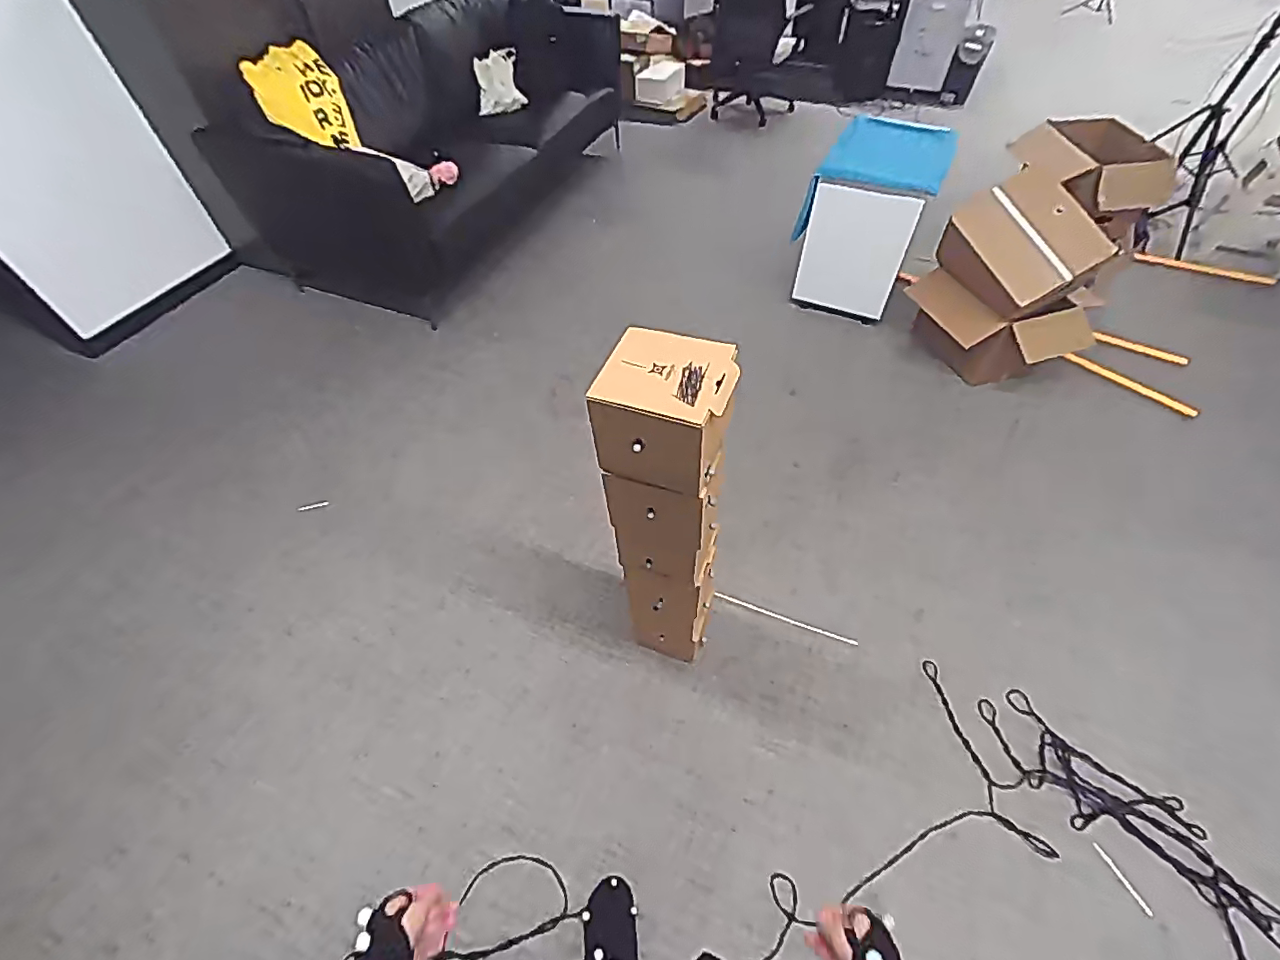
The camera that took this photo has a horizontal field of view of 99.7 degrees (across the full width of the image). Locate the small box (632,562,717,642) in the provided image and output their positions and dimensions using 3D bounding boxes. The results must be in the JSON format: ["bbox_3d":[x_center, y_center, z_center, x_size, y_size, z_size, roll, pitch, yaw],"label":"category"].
[{"bbox_3d":[0.084,0.285,1.366,0.179,0.176,0.168,17,55,16],"label":"small box"}]

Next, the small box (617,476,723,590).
[{"bbox_3d":[0.062,0.094,1.102,0.168,0.176,0.179,14,55,15],"label":"small box"}]

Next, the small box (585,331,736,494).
[{"bbox_3d":[0.037,-0.100,0.839,0.179,0.176,0.168,16,55,17],"label":"small box"}]

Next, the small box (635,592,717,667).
[{"bbox_3d":[0.099,0.391,1.491,0.179,0.176,0.168,17,54,15],"label":"small box"}]

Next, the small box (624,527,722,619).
[{"bbox_3d":[0.076,0.195,1.229,0.179,0.176,0.168,15,54,14],"label":"small box"}]
